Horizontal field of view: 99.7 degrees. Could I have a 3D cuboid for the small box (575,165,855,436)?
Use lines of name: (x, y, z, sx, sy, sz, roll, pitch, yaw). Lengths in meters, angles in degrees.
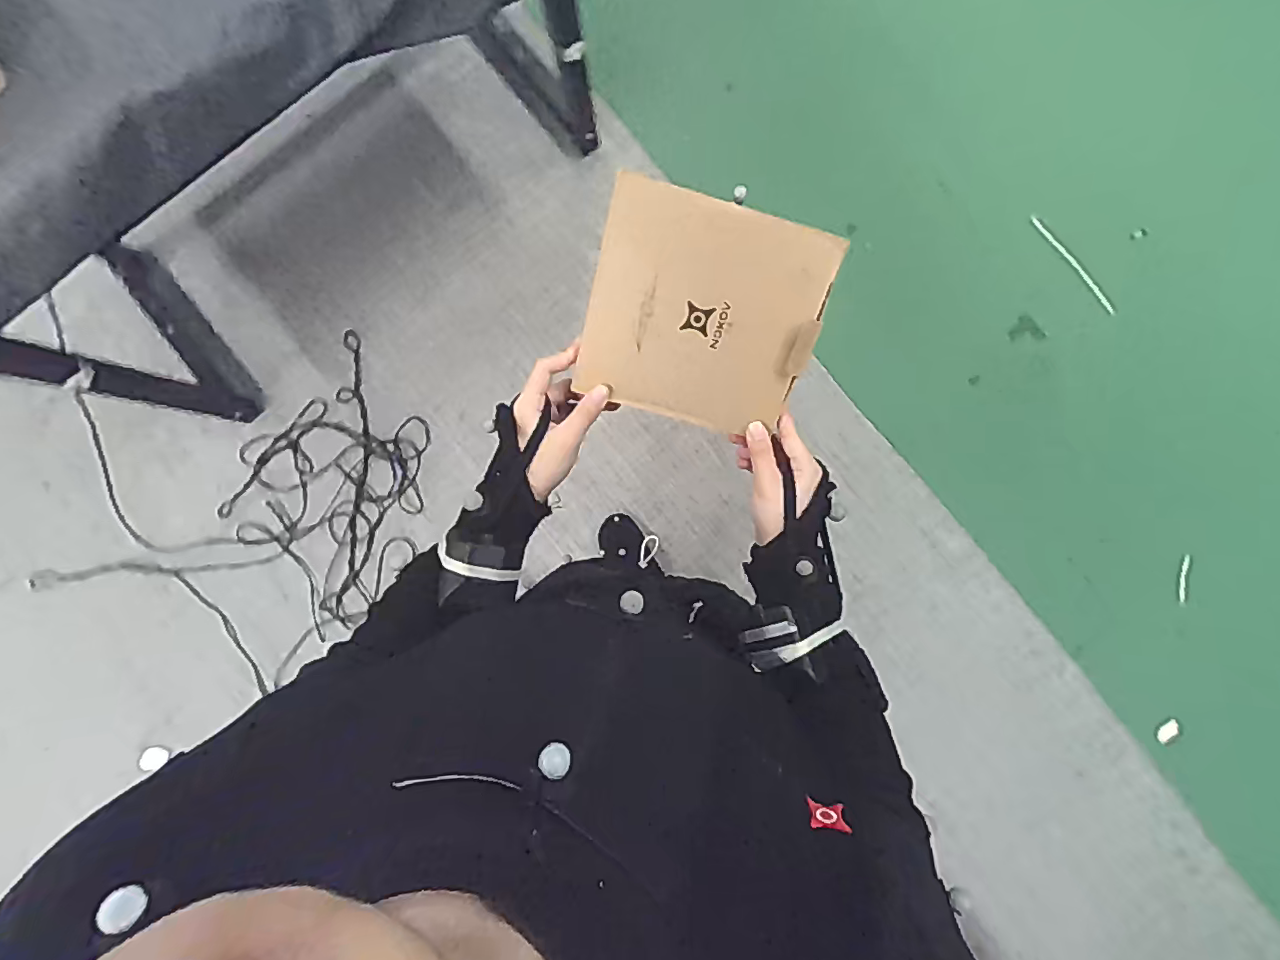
small box: (0.053, -0.161, 0.482, 0.179, 0.176, 0.168, 14, 114, -5)
